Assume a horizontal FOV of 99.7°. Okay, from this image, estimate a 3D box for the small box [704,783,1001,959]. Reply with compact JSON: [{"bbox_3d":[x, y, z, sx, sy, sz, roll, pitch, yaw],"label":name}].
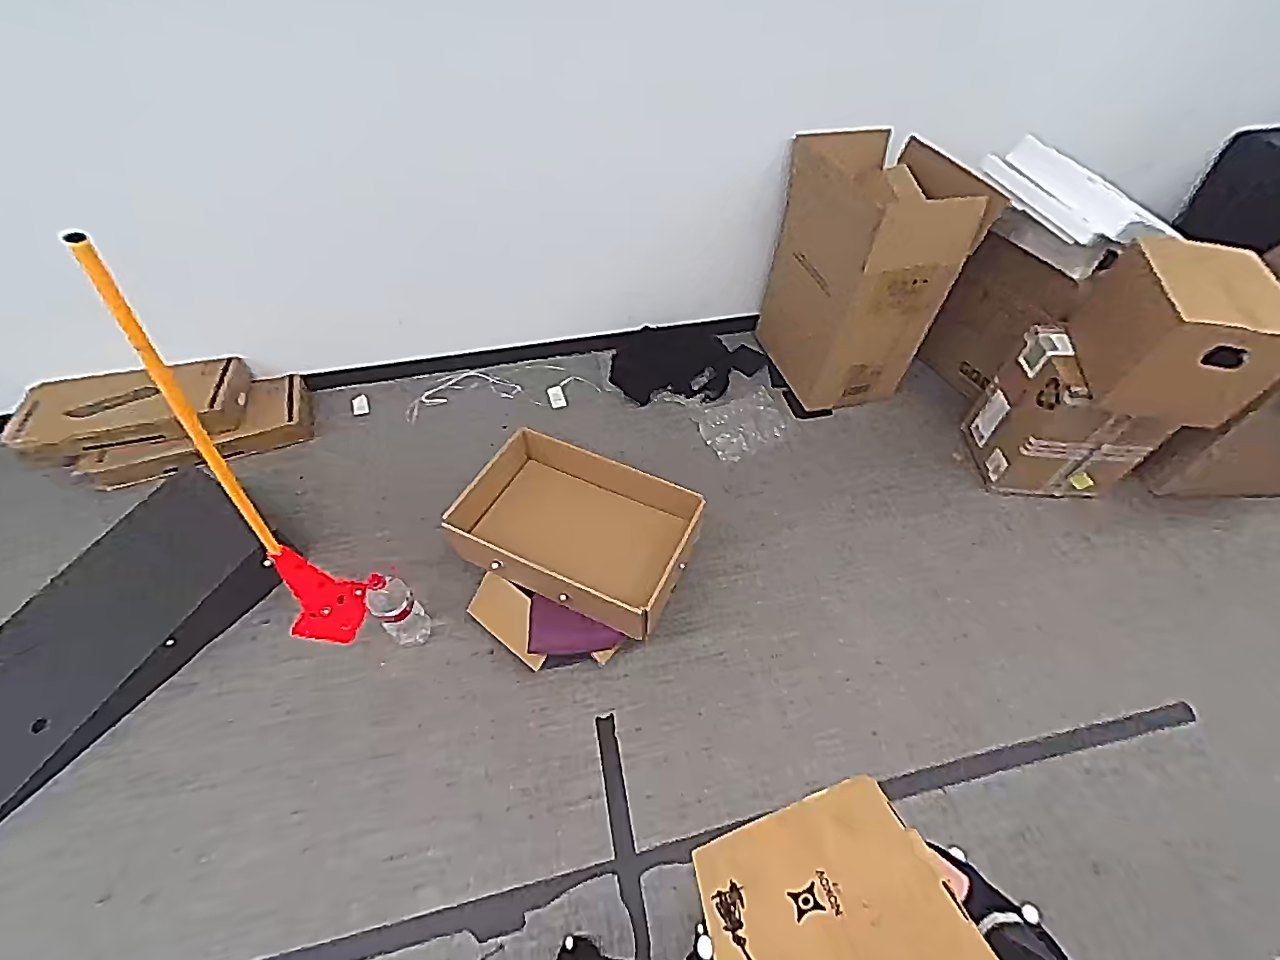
[{"bbox_3d":[0.171,0.393,0.426,0.179,0.176,0.168,-23,11,0],"label":"small box"}]
